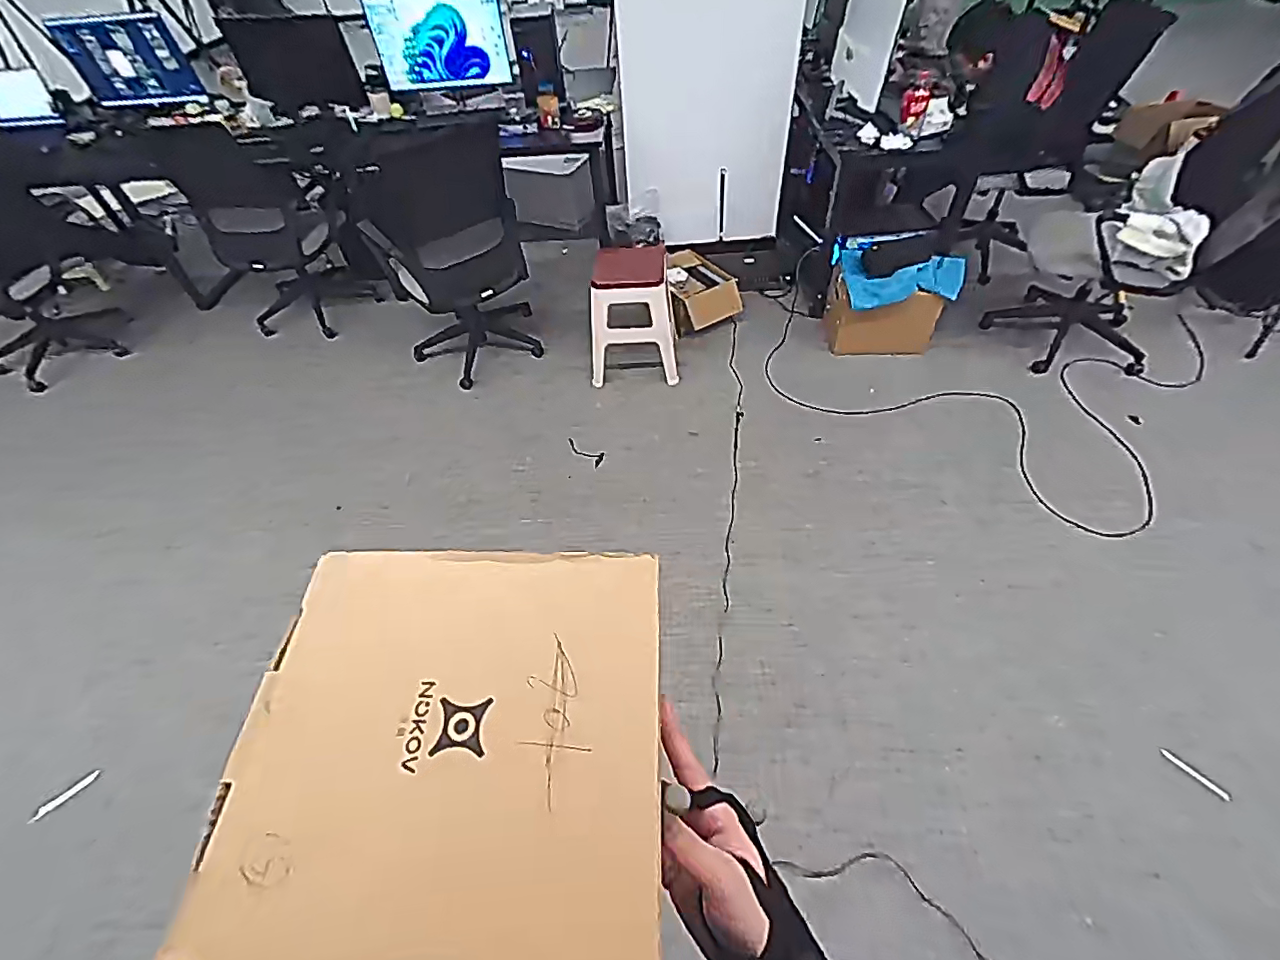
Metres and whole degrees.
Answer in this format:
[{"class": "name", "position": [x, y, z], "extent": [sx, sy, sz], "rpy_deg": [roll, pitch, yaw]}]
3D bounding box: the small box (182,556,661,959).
[{"class": "small box", "position": [-0.077, 0.154, 0.303], "extent": [0.179, 0.176, 0.168], "rpy_deg": [0, 55, 2]}]
